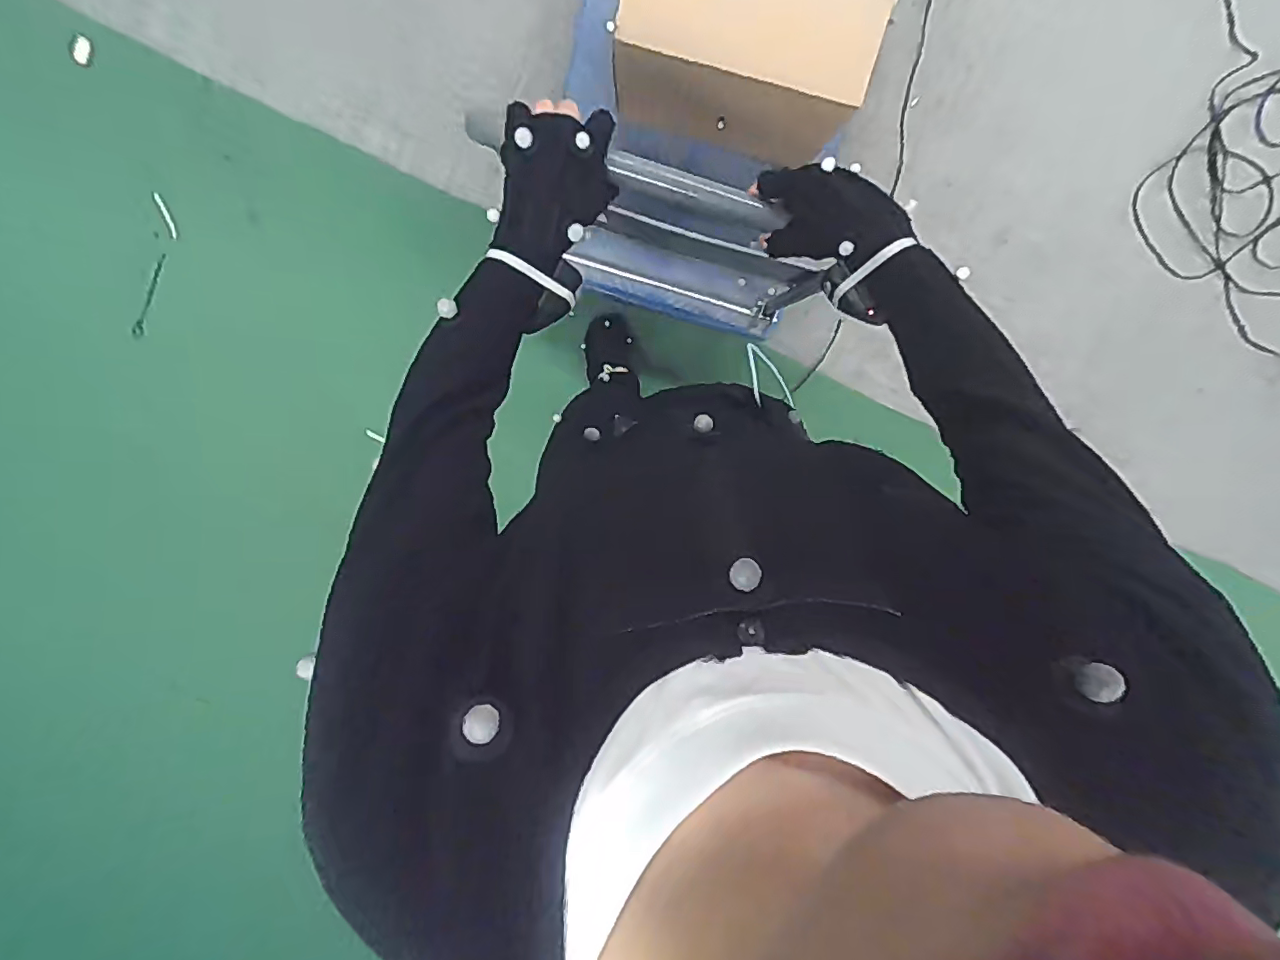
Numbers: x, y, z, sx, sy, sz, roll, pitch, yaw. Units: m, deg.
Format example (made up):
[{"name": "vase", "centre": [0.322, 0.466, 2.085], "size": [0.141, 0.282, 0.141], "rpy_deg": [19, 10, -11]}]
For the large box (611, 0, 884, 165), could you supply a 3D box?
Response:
[{"name": "large box", "centre": [0.182, -0.809, 0.956], "size": [0.408, 0.320, 0.320], "rpy_deg": [13, 103, -3]}]
